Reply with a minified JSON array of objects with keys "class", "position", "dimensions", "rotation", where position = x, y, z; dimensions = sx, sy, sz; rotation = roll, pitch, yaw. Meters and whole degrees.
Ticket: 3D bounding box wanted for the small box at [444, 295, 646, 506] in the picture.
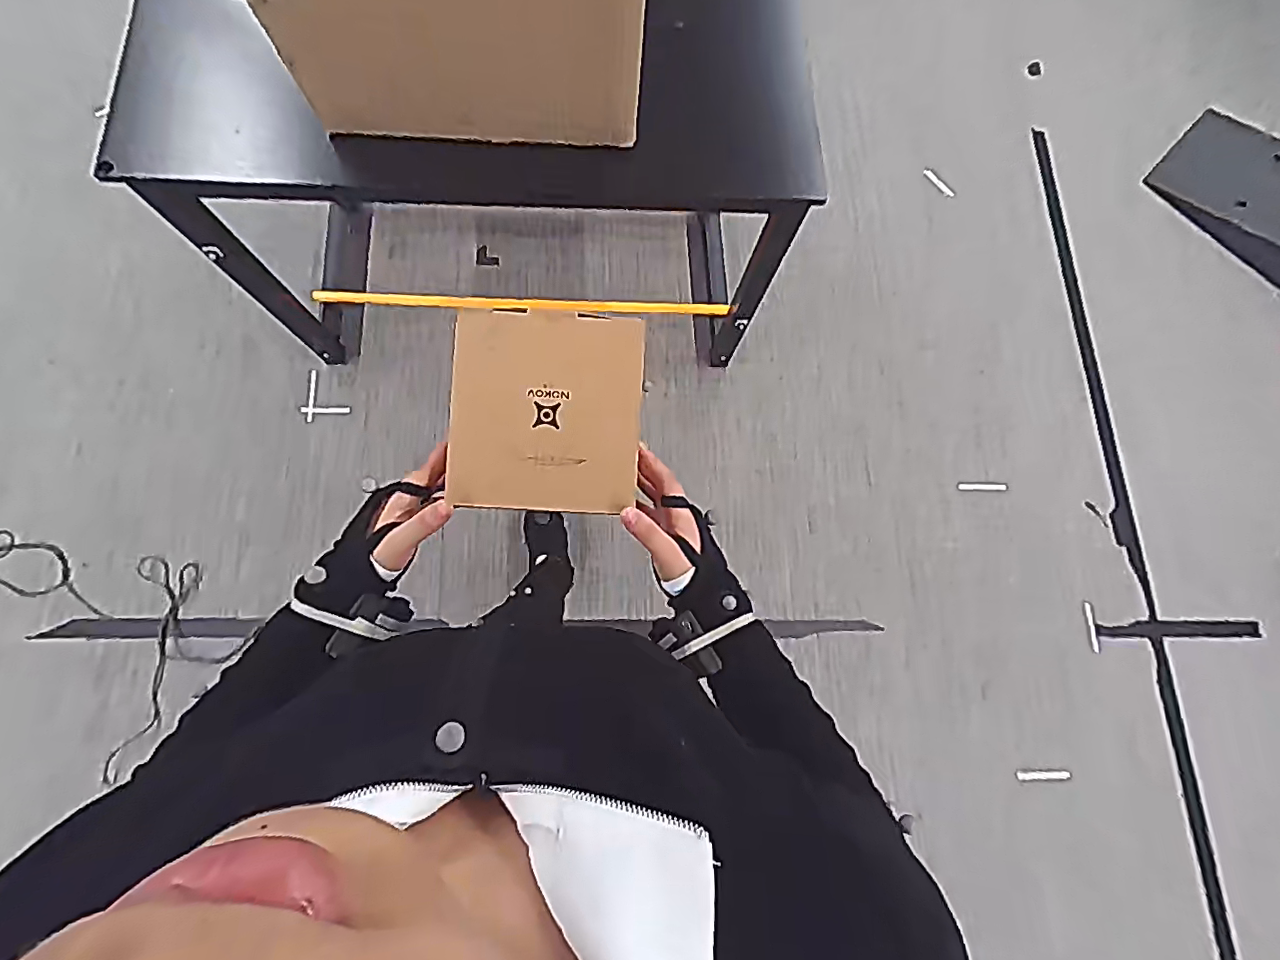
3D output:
[{"class":"small box","position":[-0.087,-0.066,0.549],"dimensions":[0.168,0.176,0.179],"rotation":[3,88,-4]}]
